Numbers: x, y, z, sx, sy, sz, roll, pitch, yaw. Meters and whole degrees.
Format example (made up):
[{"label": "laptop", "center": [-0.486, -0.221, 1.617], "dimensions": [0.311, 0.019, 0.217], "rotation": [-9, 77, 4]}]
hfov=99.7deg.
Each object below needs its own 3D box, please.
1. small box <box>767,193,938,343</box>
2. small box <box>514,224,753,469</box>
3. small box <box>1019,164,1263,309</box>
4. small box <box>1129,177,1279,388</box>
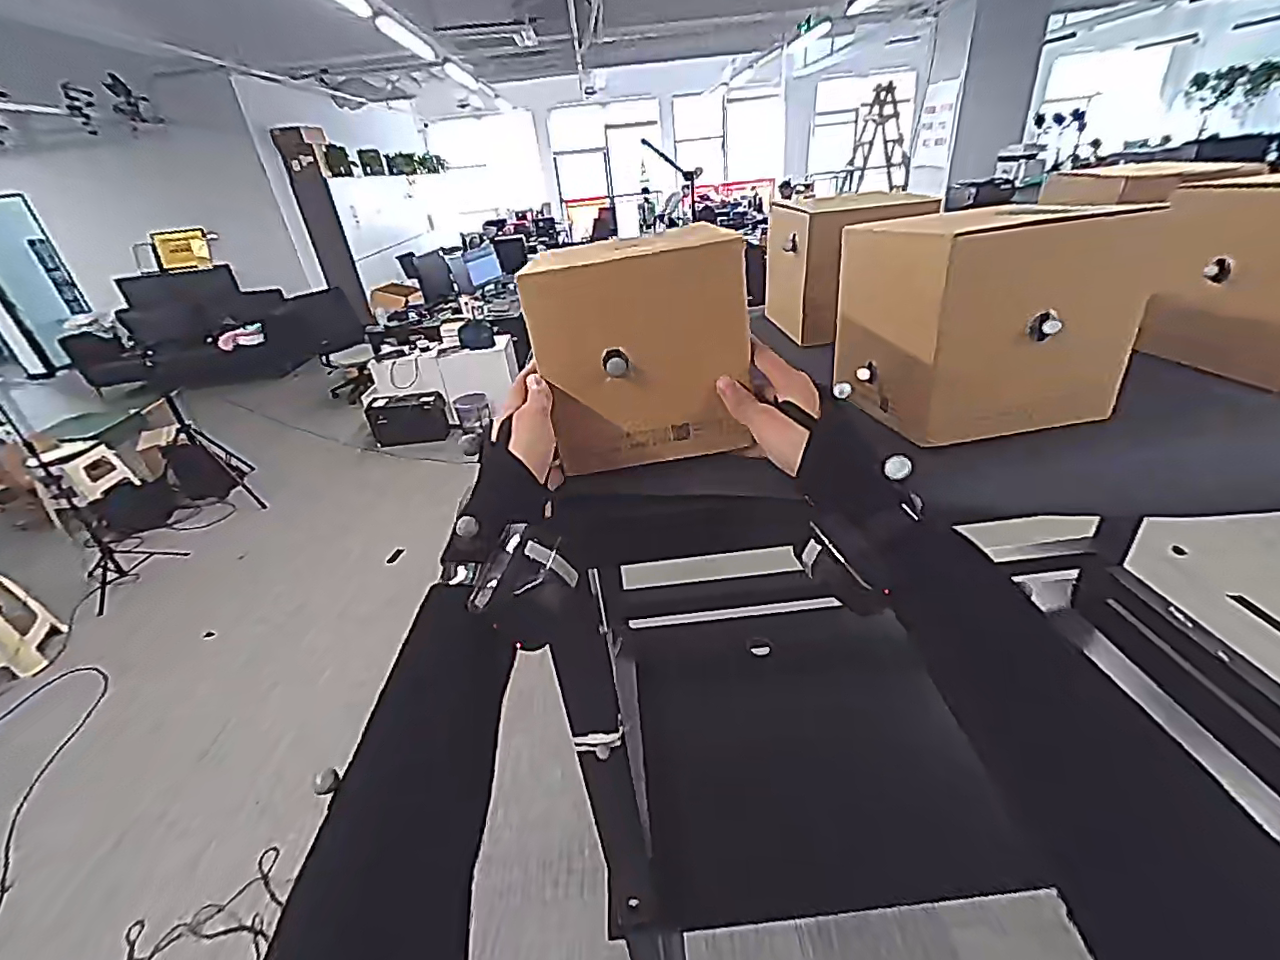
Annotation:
[{"label": "small box", "center": [0.283, -0.296, 0.762], "dimensions": [0.168, 0.176, 0.179], "rotation": [-6, 30, -2]}, {"label": "small box", "center": [0.000, -0.118, 0.485], "dimensions": [0.168, 0.176, 0.179], "rotation": [-10, 28, 1]}, {"label": "small box", "center": [0.692, -0.347, 0.777], "dimensions": [0.168, 0.176, 0.179], "rotation": [-3, 30, 3]}, {"label": "small box", "center": [0.633, -0.190, 0.512], "dimensions": [0.168, 0.176, 0.179], "rotation": [-7, 28, 0]}]
